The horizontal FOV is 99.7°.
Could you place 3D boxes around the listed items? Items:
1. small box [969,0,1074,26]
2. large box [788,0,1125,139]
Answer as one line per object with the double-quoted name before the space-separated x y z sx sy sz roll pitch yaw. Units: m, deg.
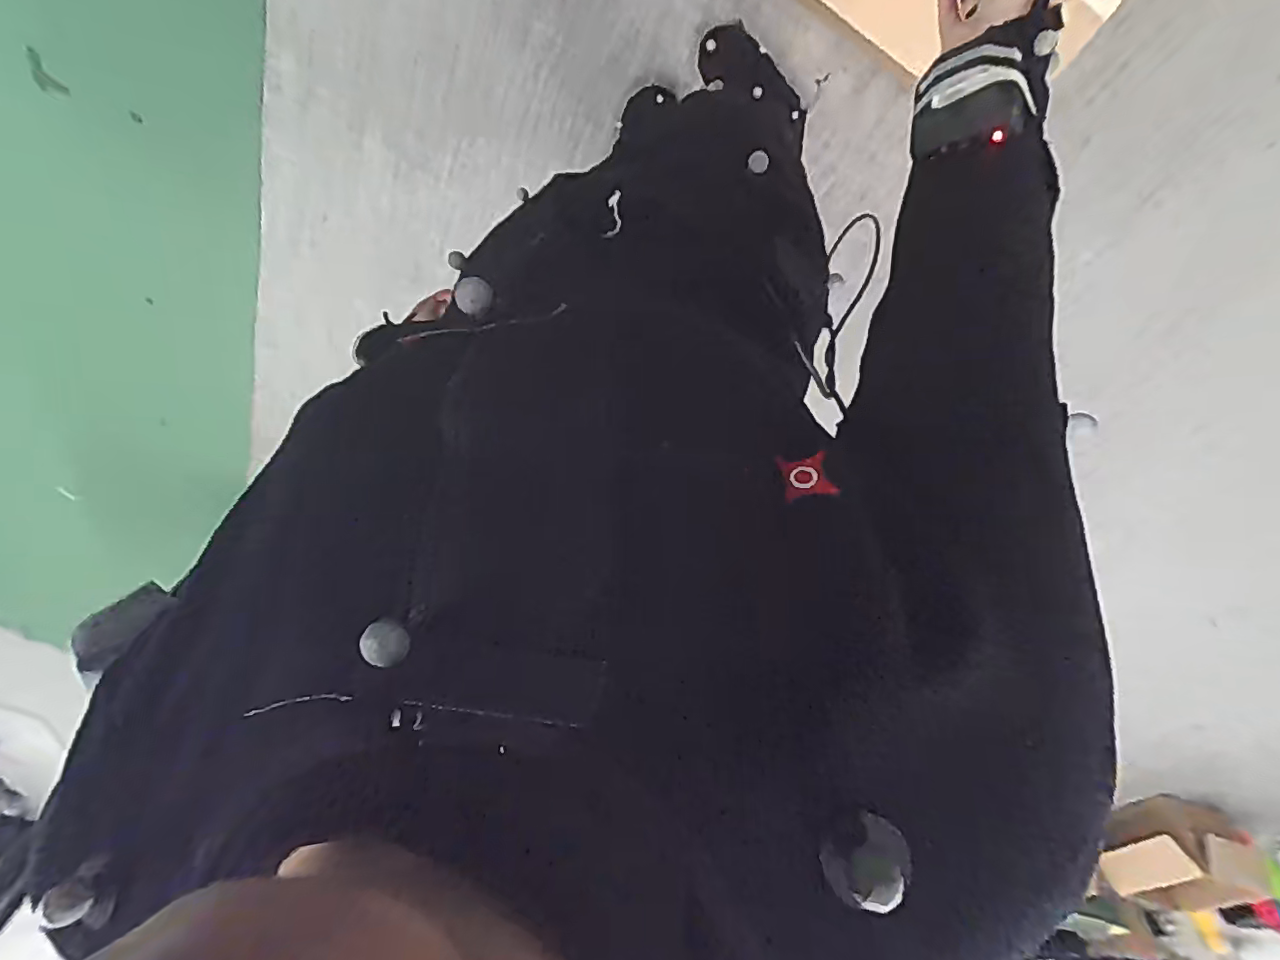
"small box" 0.316 -0.483 0.384 0.168 0.176 0.179 29 118 -10
"large box" 0.416 -0.745 0.723 0.408 0.320 0.320 26 131 -13
